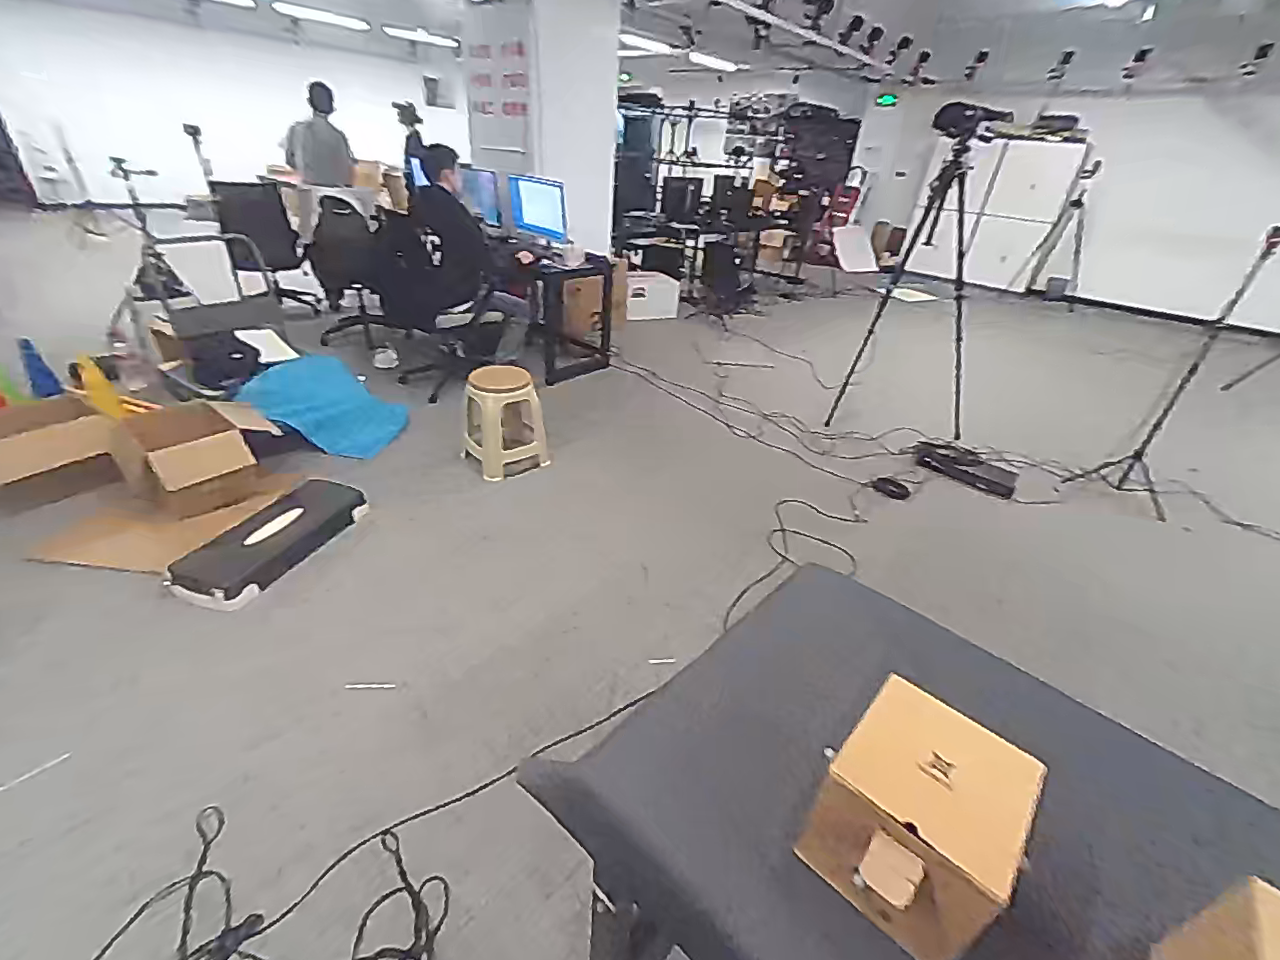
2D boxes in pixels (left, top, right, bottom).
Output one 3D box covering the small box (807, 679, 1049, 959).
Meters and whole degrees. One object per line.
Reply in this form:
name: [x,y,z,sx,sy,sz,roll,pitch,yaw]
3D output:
small box: [0.307,0.369,0.597,0.168,0.176,0.179,29,39,33]
